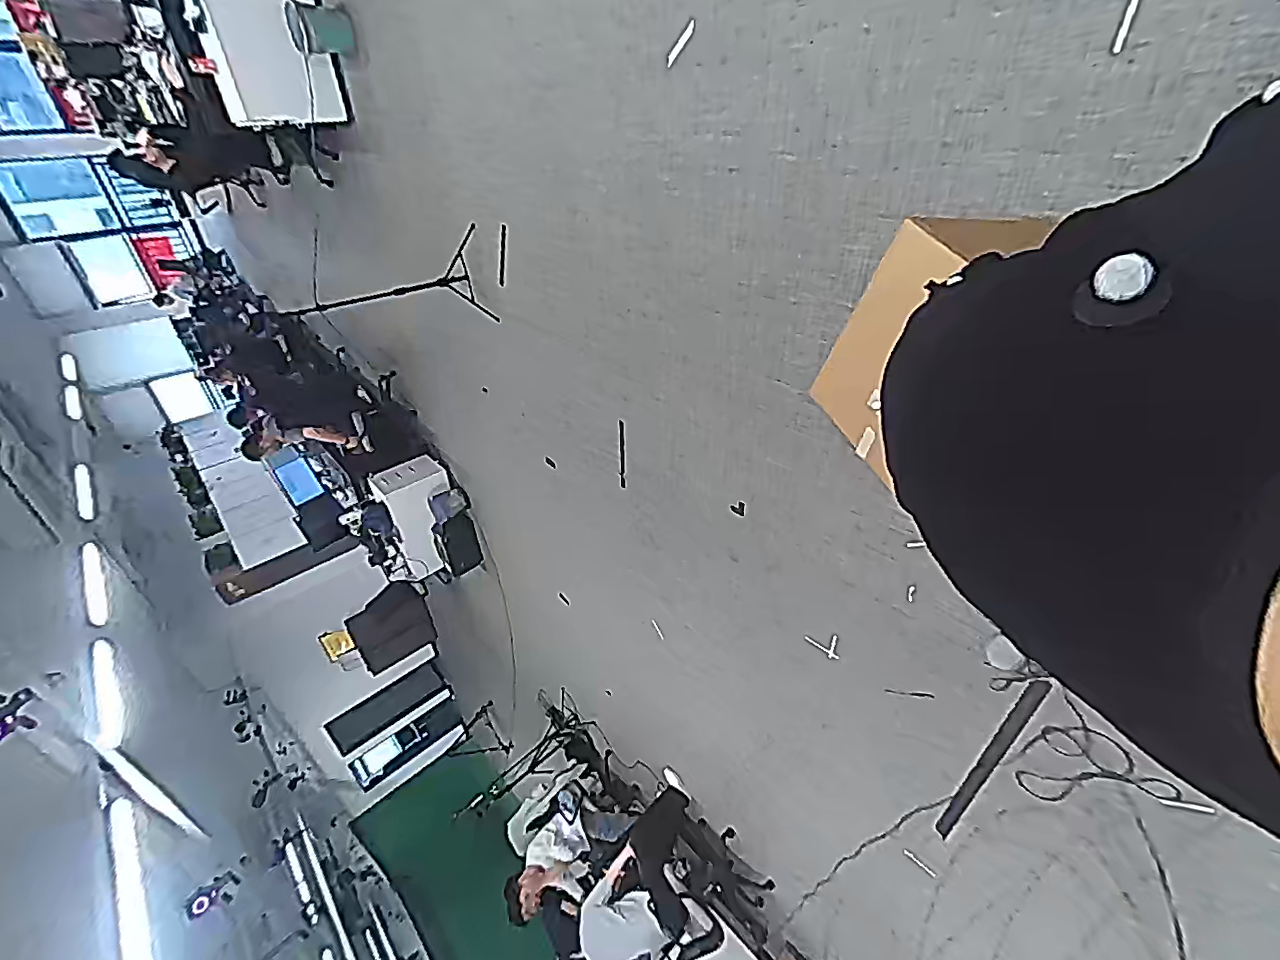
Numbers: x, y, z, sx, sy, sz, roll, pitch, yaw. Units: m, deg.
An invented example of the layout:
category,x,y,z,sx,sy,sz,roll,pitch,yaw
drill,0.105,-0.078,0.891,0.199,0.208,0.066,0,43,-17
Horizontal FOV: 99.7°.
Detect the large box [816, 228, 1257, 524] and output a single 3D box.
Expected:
category,x,y,z,sx,sy,sz,roll,pitch,yaw
large box,0.569,-0.169,0.844,0.320,0.408,0.320,108,145,-49
